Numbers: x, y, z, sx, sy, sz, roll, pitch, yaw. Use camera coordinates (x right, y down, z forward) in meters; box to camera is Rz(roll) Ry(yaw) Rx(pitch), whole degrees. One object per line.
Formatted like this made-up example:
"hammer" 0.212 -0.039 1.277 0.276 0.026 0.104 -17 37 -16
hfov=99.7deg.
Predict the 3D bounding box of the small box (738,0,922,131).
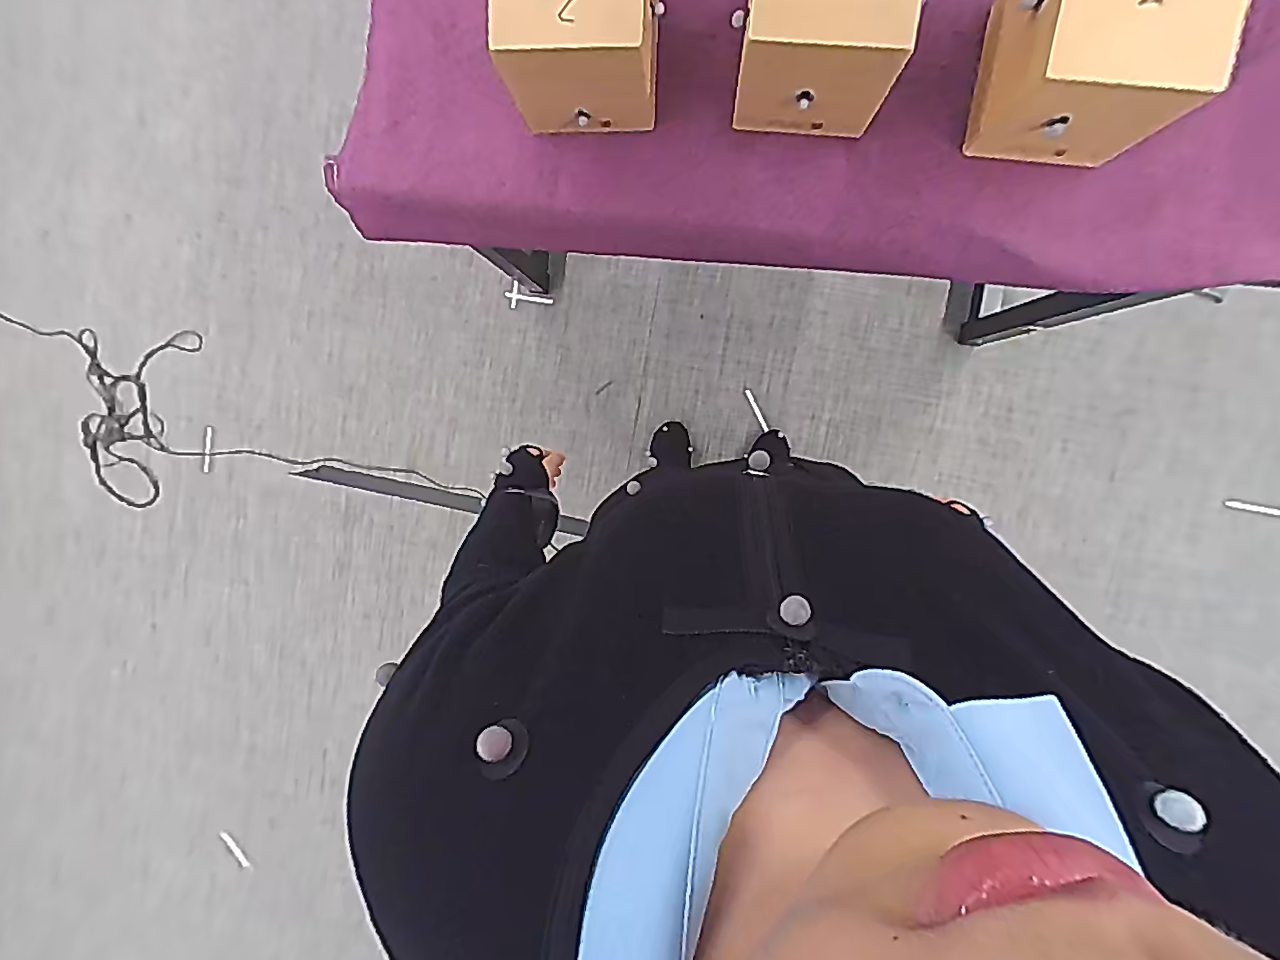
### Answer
"small box" 0.208 -0.529 0.609 0.168 0.176 0.179 7 96 3

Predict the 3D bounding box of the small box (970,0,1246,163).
"small box" 0.494 -0.476 0.590 0.168 0.176 0.179 8 97 5
